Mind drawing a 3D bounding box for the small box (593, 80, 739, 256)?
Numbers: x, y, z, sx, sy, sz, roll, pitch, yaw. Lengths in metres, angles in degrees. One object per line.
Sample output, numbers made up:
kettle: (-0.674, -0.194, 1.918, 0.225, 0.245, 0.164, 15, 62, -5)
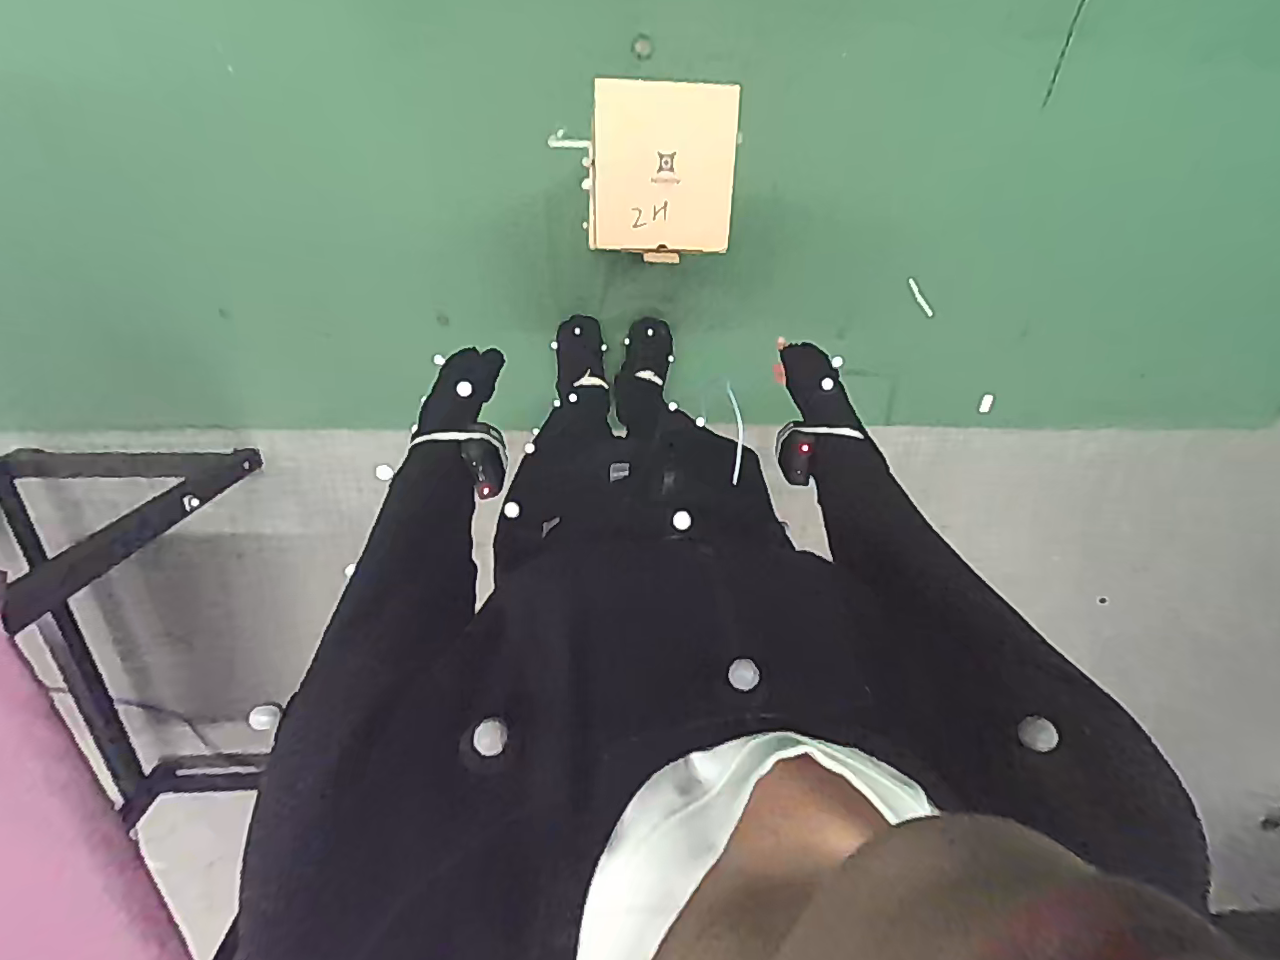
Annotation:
small box: (0.023, -0.391, 0.707, 0.168, 0.176, 0.179, 0, 113, -4)
